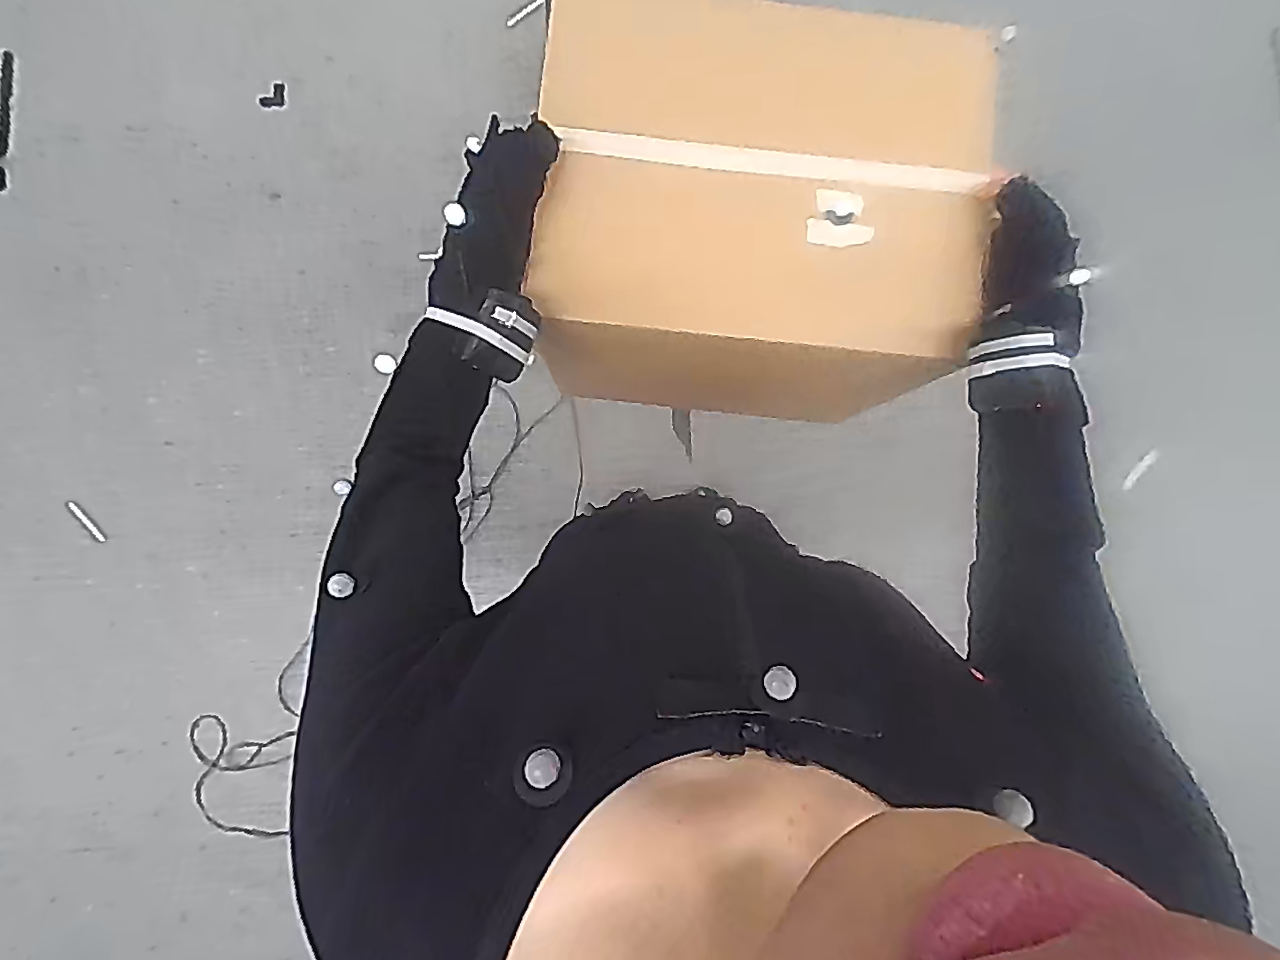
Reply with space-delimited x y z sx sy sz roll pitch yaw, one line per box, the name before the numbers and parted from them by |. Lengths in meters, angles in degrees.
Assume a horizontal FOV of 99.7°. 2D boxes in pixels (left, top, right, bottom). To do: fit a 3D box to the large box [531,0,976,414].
large box | 0.103 -0.272 0.642 0.408 0.320 0.320 5 86 -2
